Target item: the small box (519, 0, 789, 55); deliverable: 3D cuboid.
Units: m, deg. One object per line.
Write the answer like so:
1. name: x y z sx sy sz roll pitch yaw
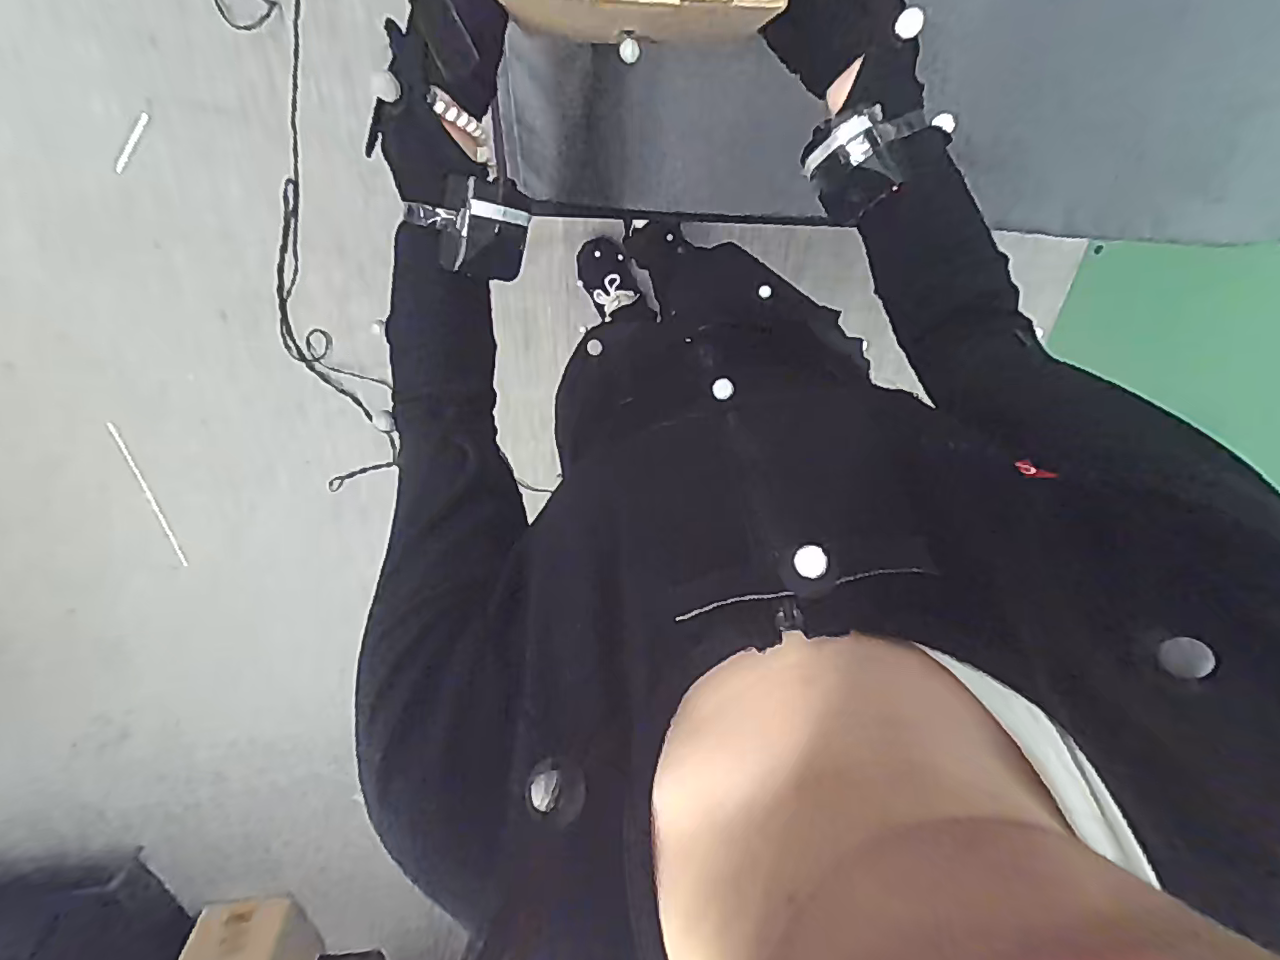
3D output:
1. small box: 0.001 -0.378 0.318 0.168 0.176 0.179 1 122 -4
